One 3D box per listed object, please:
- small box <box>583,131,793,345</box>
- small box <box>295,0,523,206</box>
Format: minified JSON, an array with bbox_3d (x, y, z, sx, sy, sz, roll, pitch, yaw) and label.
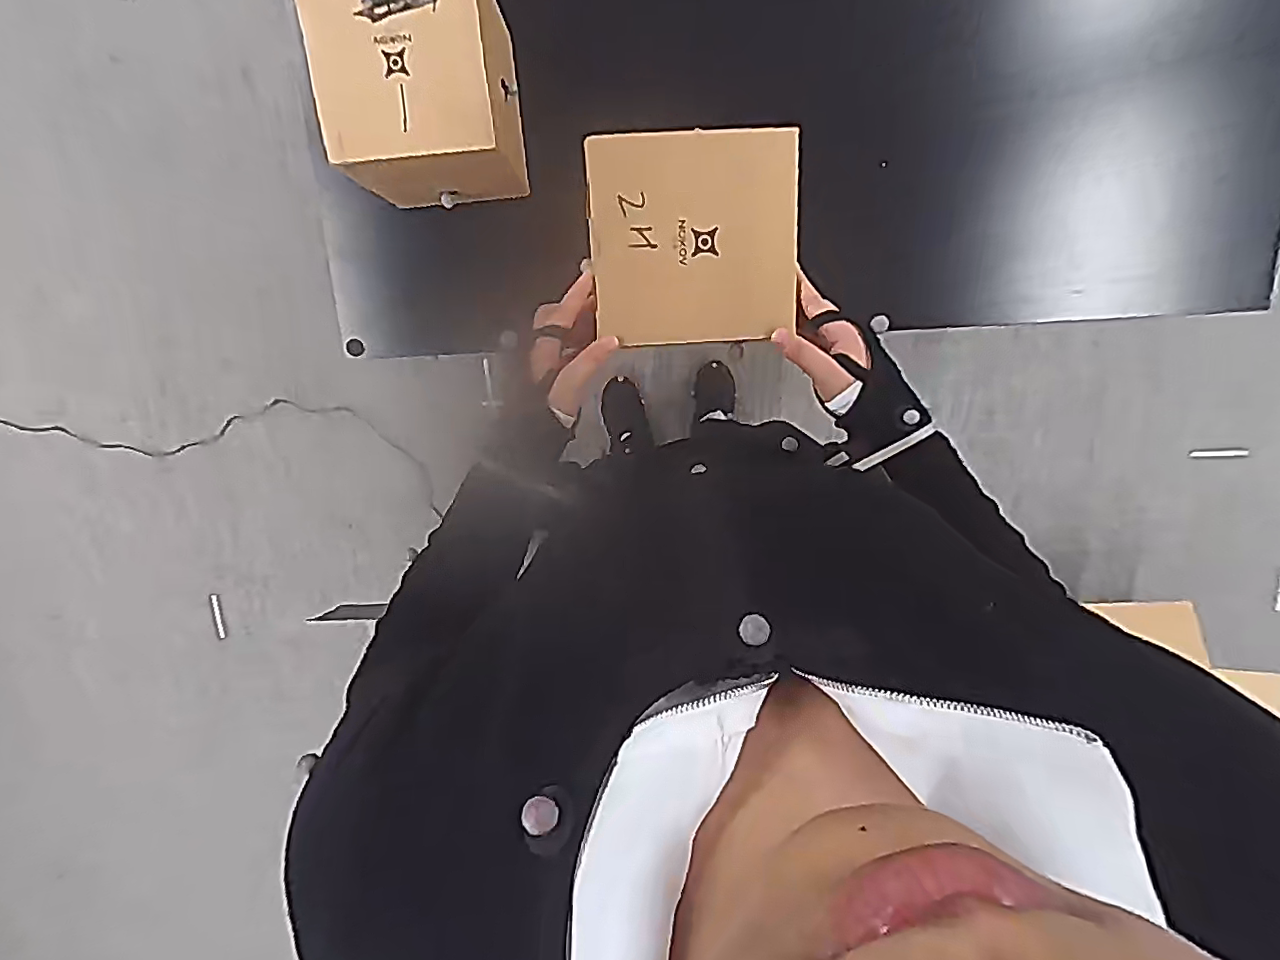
[{"bbox_3d":[0.039,-0.223,0.536,0.179,0.176,0.168,-3,103,-1],"label":"small box"},{"bbox_3d":[-0.230,-0.414,0.579,0.168,0.176,0.179,-5,105,1],"label":"small box"}]
